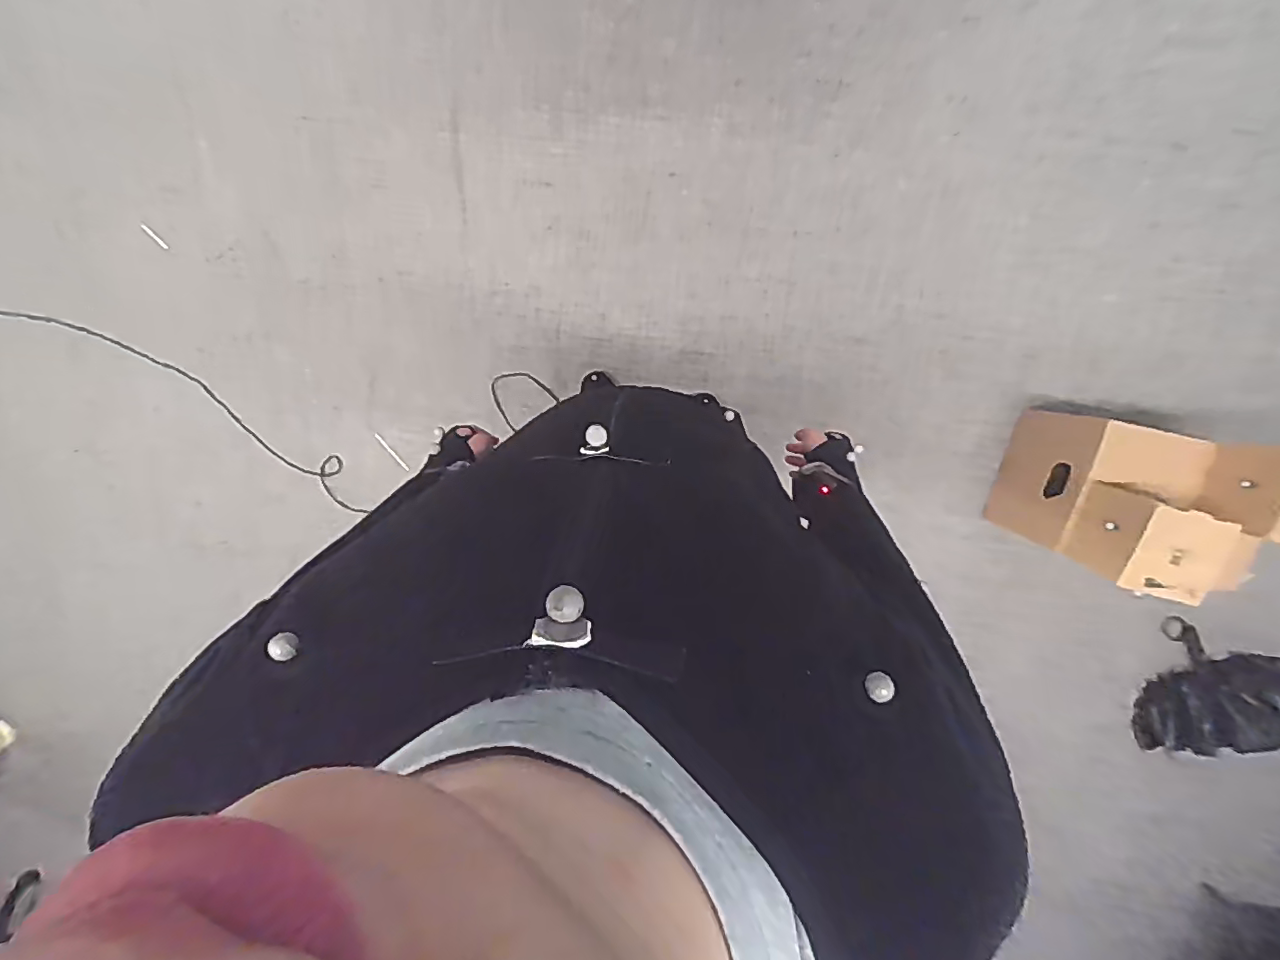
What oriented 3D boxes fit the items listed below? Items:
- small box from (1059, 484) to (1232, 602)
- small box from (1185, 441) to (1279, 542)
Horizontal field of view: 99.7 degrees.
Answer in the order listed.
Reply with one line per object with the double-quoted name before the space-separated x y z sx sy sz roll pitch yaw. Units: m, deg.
"small box" 1.023 0.120 1.115 0.168 0.176 0.179 14 103 0
"small box" 1.268 0.029 1.083 0.168 0.176 0.179 15 99 0
